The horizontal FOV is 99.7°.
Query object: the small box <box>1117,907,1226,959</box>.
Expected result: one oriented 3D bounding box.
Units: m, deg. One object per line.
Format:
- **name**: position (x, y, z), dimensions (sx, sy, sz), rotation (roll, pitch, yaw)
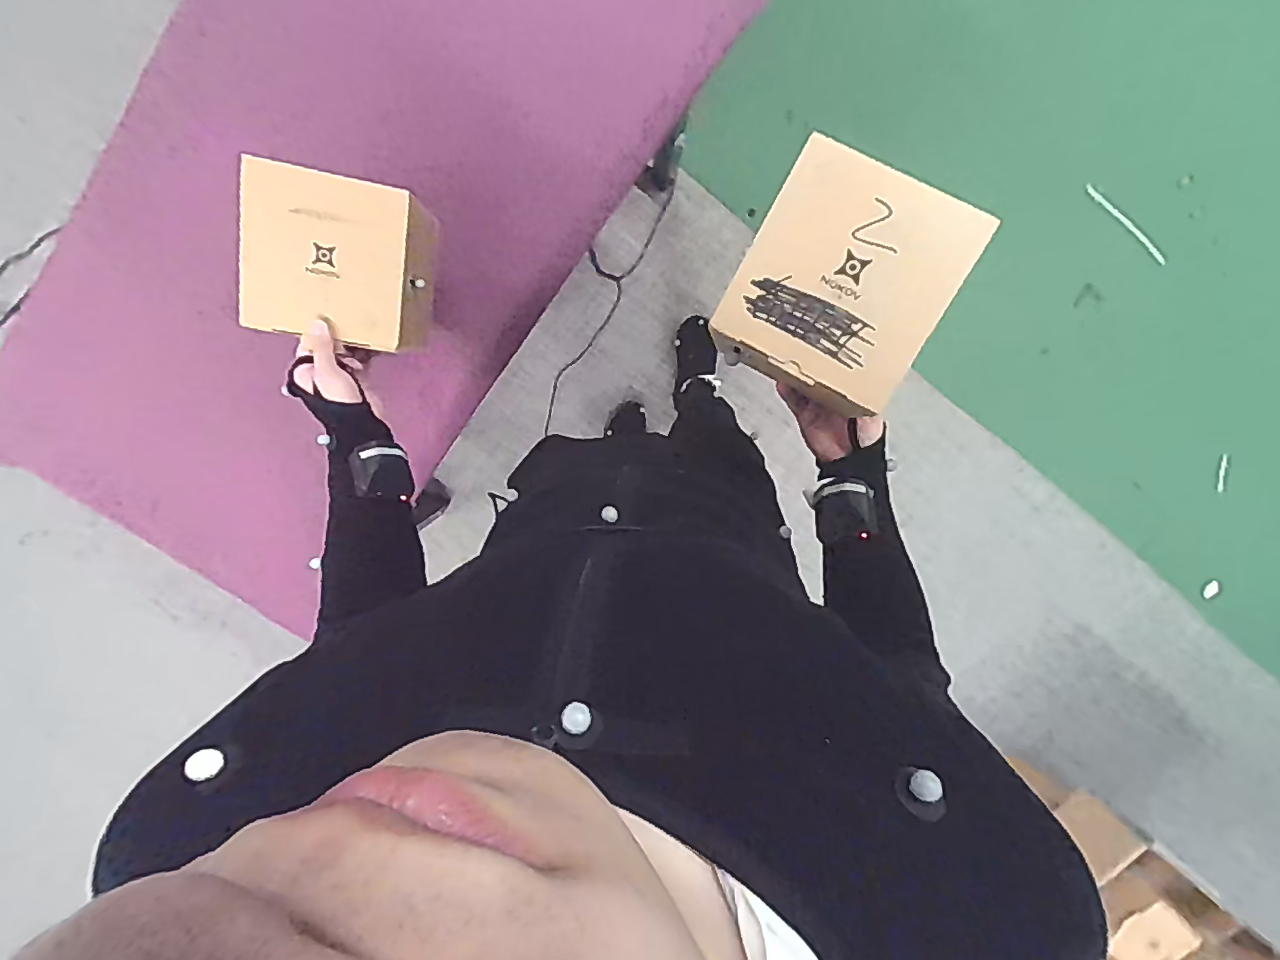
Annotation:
- **small box**: position (1.365, 1.223, 1.341), dimensions (0.179, 0.176, 0.168), rotation (39, 97, -5)
